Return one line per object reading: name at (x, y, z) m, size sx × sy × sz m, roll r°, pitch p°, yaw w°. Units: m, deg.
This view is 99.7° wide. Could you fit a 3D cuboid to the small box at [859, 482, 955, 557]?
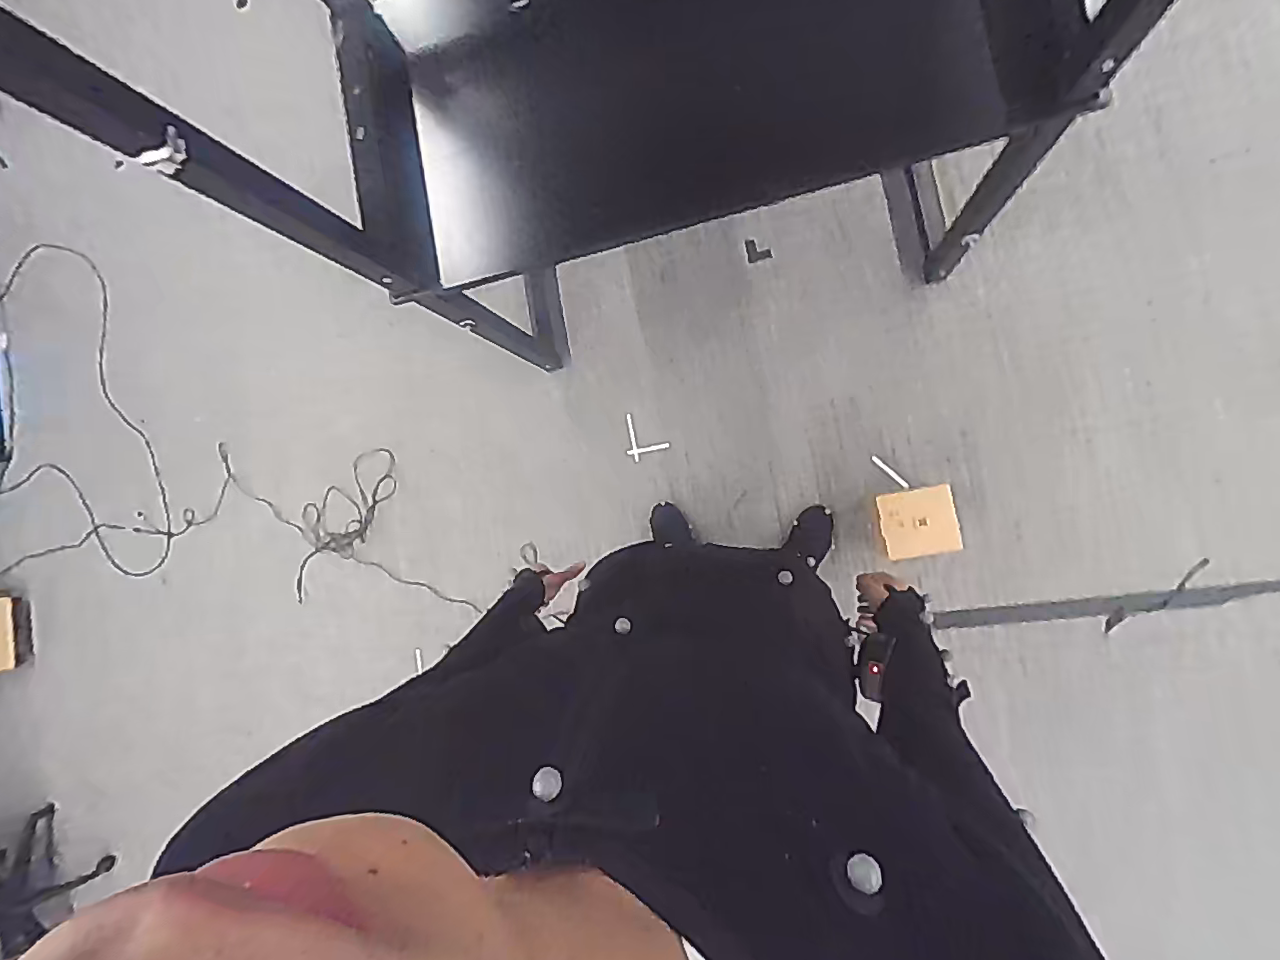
small box at (0.694, 0.099, 1.424) m, size 0.179 × 0.176 × 0.168 m, roll -11°, pitch 87°, yaw 13°
